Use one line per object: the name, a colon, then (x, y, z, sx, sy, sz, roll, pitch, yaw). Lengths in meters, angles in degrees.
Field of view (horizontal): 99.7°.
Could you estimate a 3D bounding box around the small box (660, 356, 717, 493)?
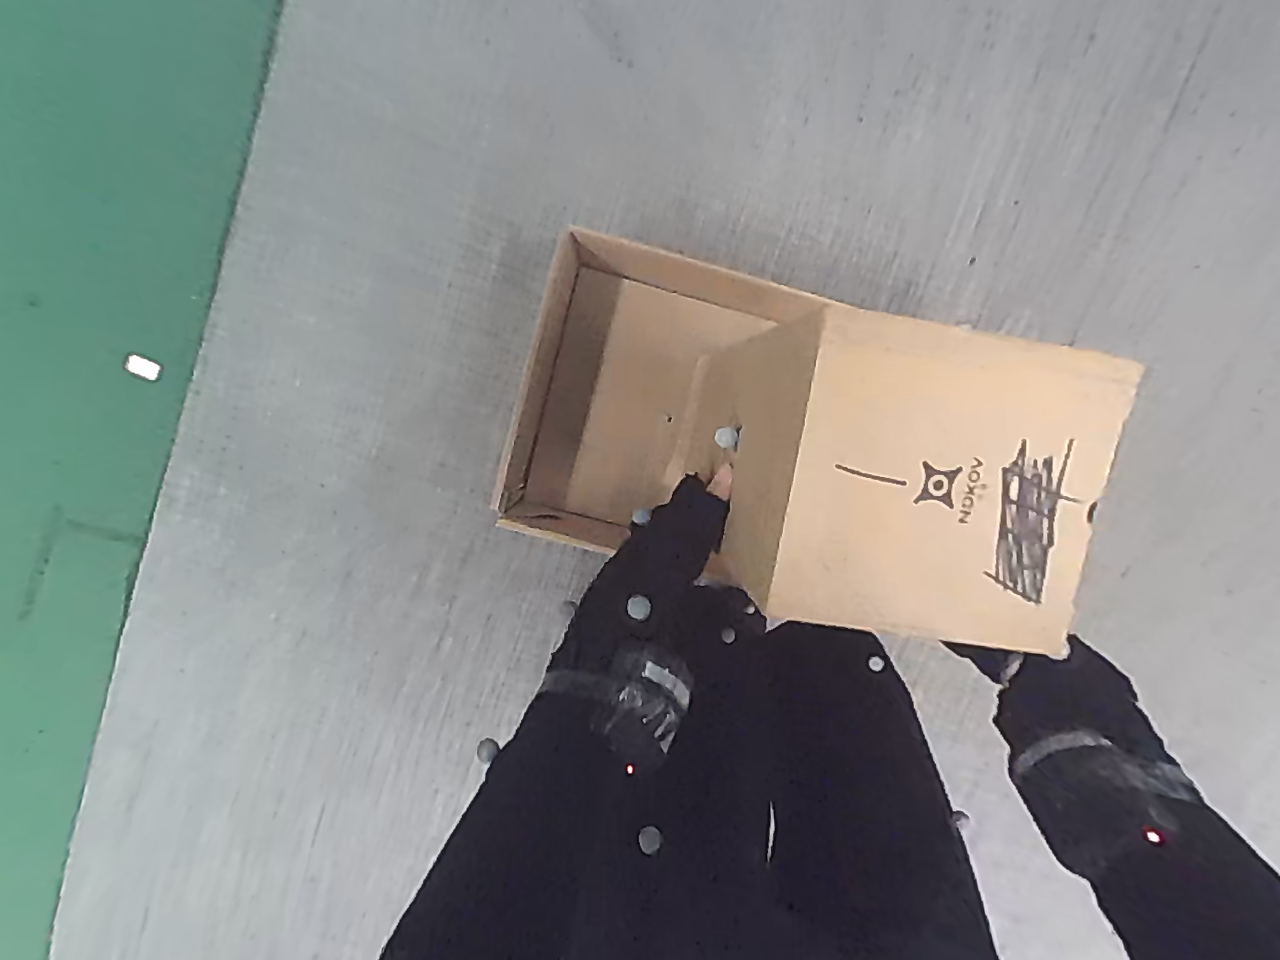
small box: (0.128, -0.065, 0.777, 0.168, 0.176, 0.179, 15, 97, -3)
